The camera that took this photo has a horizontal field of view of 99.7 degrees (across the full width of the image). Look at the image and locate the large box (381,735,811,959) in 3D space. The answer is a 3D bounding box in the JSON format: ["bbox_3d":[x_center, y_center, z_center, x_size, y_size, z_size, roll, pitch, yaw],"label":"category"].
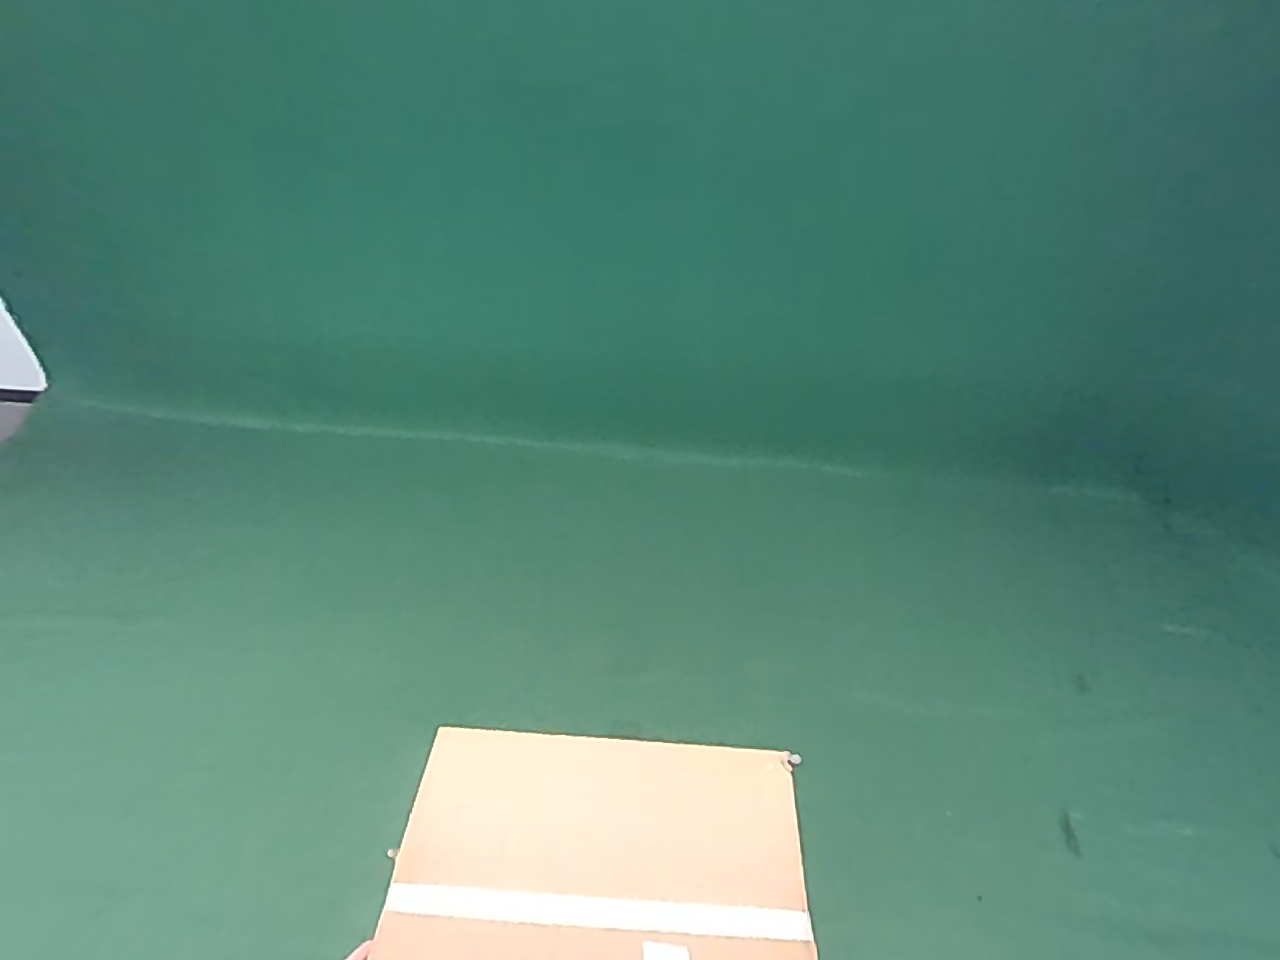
[{"bbox_3d":[-0.045,0.520,0.628,0.408,0.320,0.320,4,47,0],"label":"large box"}]
